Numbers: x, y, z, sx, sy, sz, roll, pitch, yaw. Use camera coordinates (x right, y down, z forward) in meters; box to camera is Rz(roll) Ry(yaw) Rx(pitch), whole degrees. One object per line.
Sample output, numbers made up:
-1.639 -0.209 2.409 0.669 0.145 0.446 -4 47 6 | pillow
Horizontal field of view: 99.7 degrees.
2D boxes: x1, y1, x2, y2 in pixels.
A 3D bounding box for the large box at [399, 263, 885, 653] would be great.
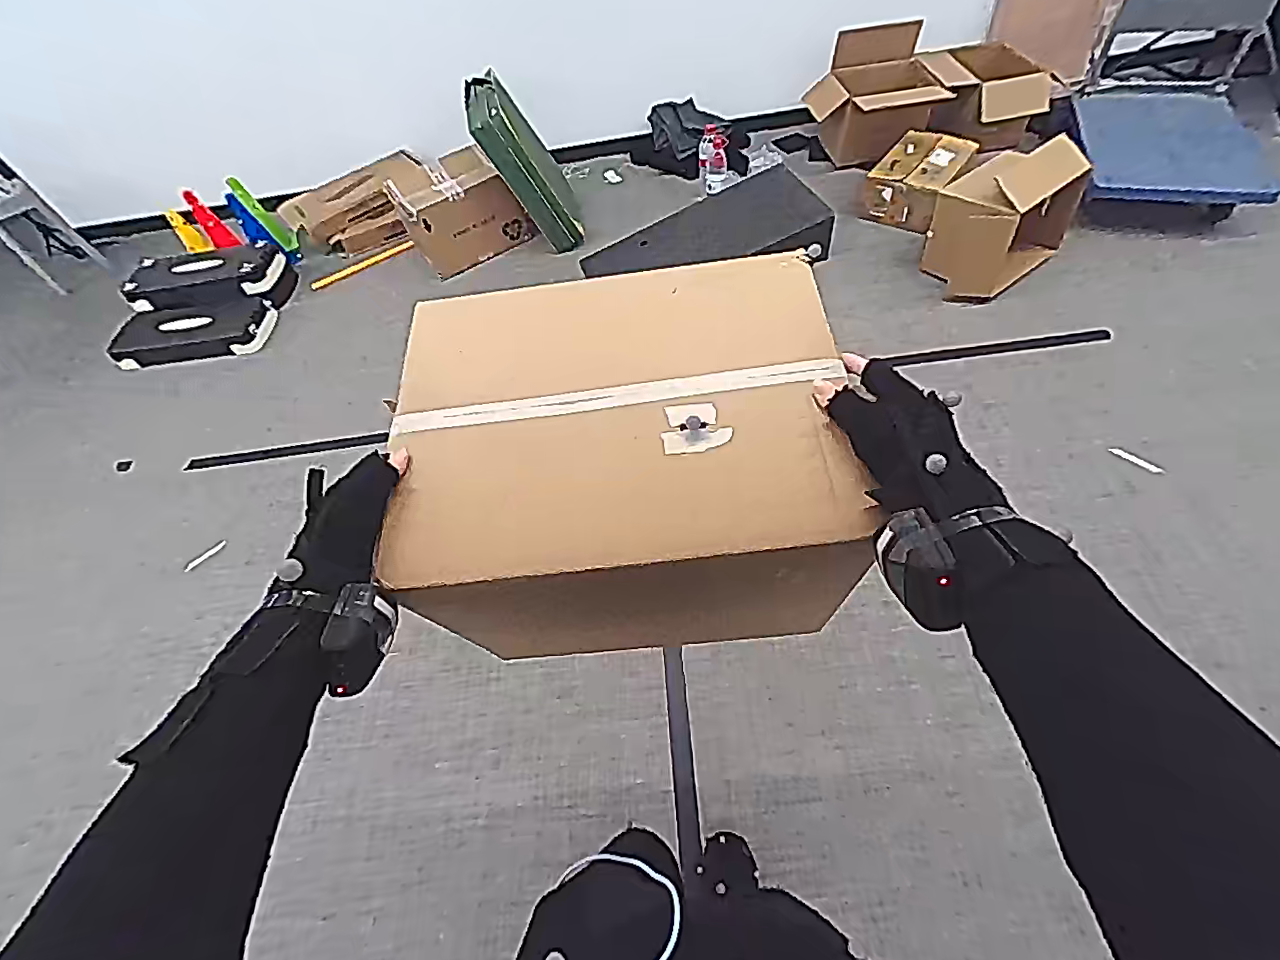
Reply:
-0.001 -0.002 0.632 0.408 0.320 0.320 -6 62 3 | large box
